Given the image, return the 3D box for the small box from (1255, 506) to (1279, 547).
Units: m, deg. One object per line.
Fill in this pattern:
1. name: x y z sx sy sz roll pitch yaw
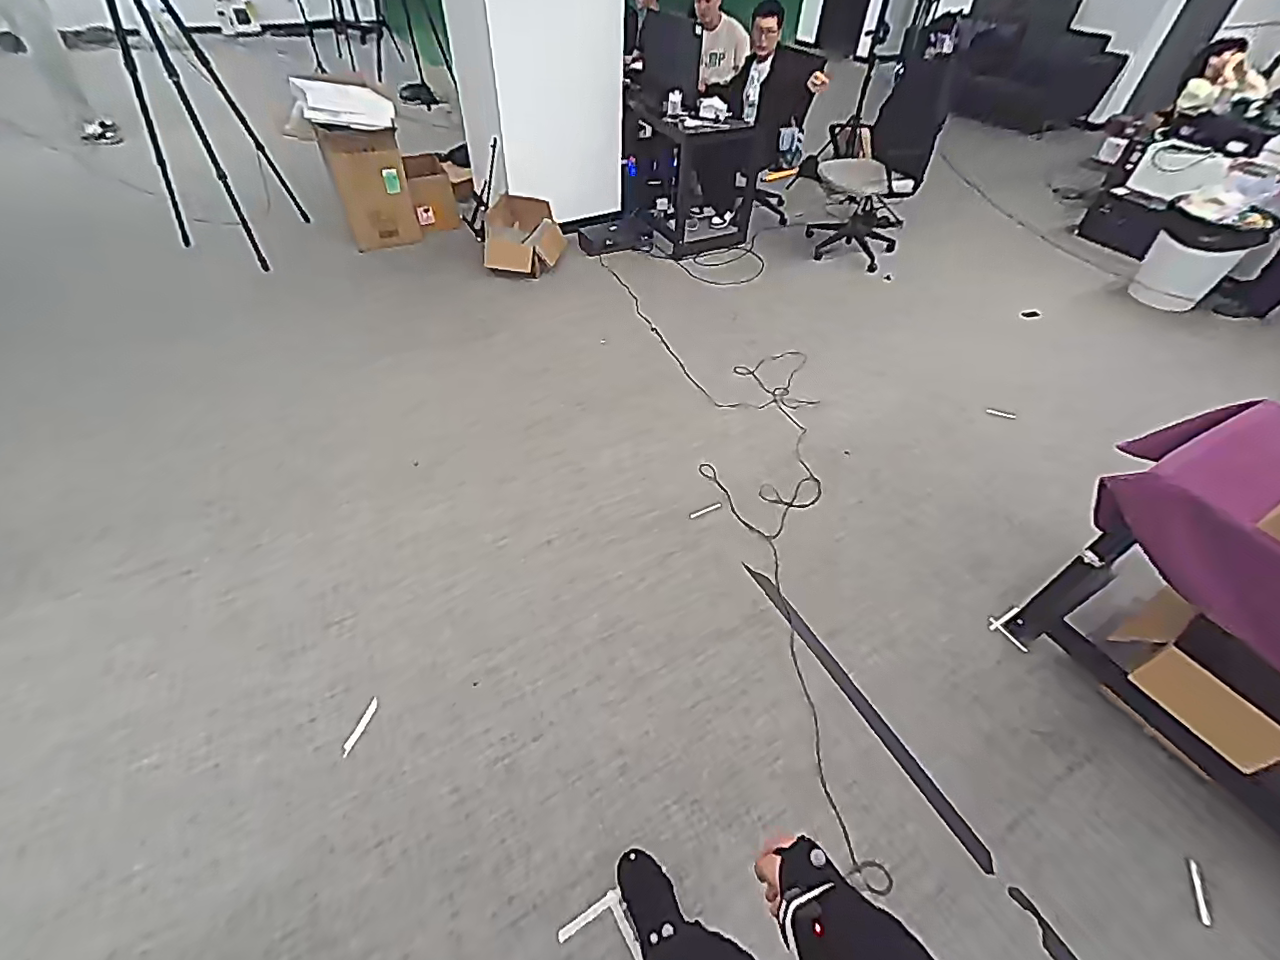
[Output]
1. small box: 1.452 0.084 1.106 0.168 0.176 0.179 -22 52 -22
